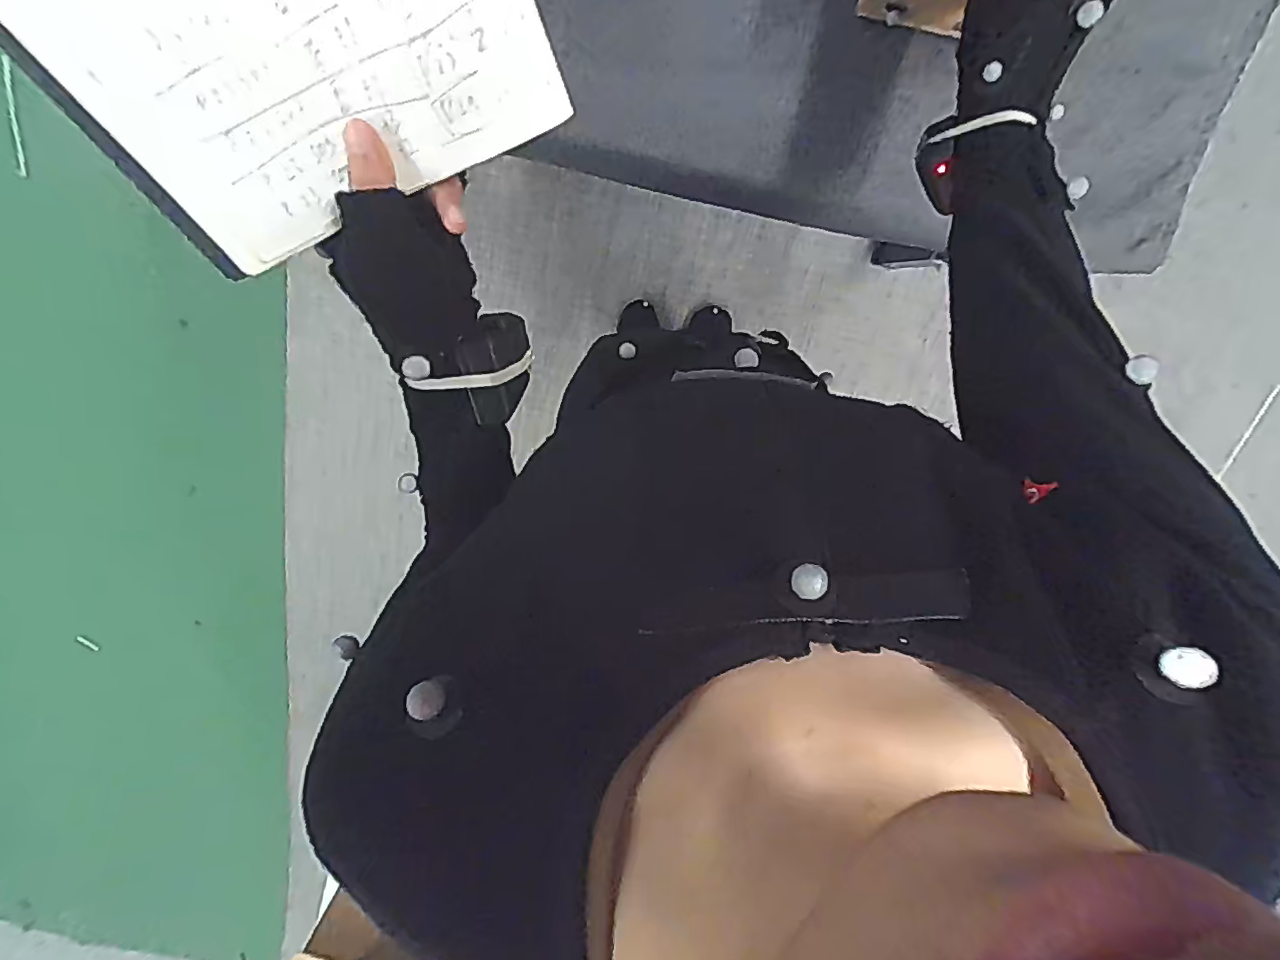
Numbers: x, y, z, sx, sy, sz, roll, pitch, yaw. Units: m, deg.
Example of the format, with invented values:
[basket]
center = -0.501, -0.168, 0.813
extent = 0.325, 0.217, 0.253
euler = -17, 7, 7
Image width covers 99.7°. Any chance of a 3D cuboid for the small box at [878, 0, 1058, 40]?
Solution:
[small box]
center = 0.318, -0.521, 0.458
extent = 0.168, 0.176, 0.179
euler = 12, 108, -1
